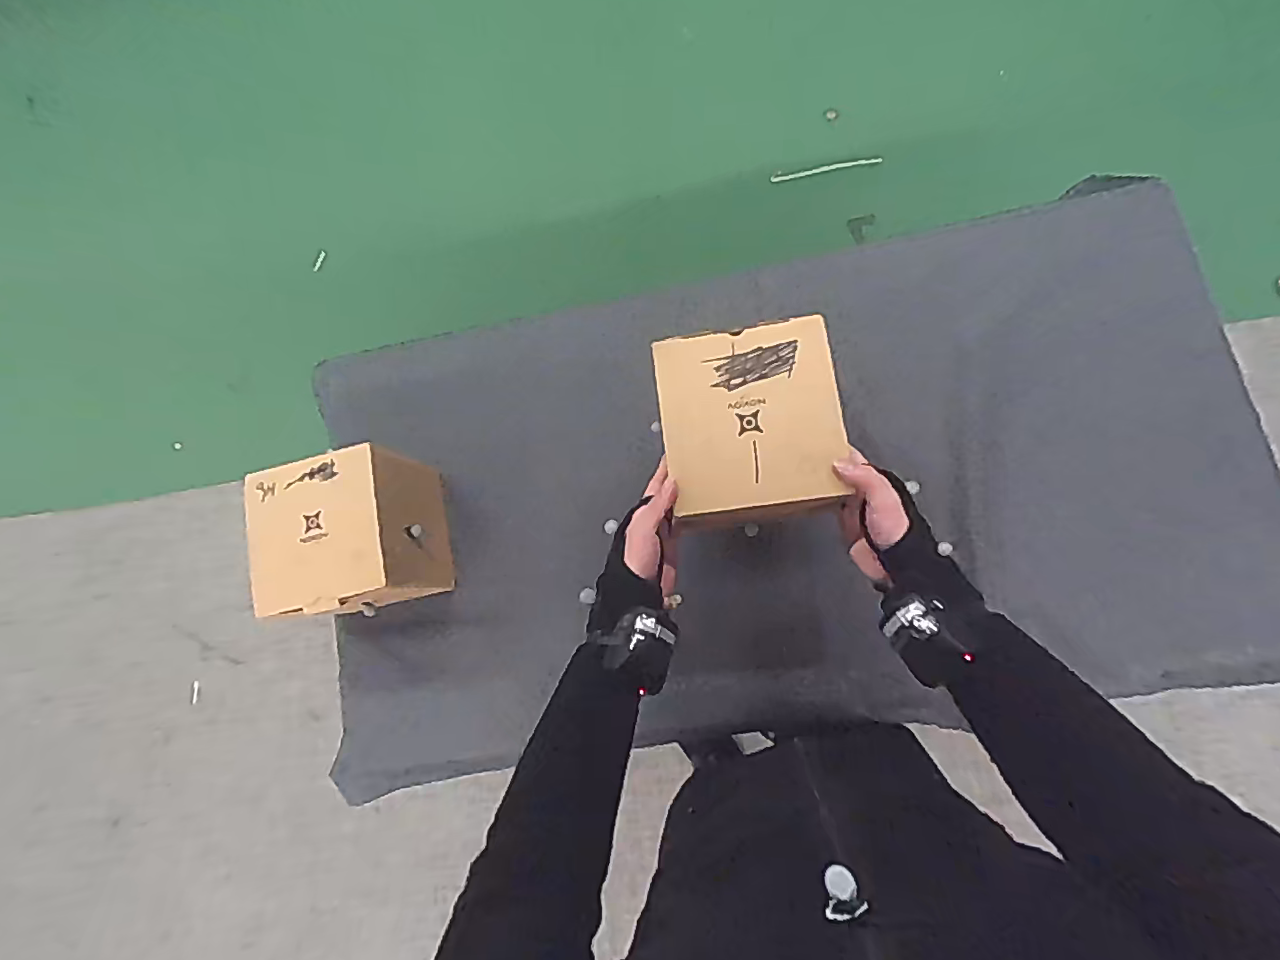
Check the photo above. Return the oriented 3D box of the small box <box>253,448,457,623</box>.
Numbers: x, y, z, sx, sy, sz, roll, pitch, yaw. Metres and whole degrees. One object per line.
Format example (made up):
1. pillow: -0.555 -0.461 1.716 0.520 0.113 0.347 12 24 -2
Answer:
1. small box: -0.358 0.075 0.704 0.168 0.176 0.179 -14 78 5
